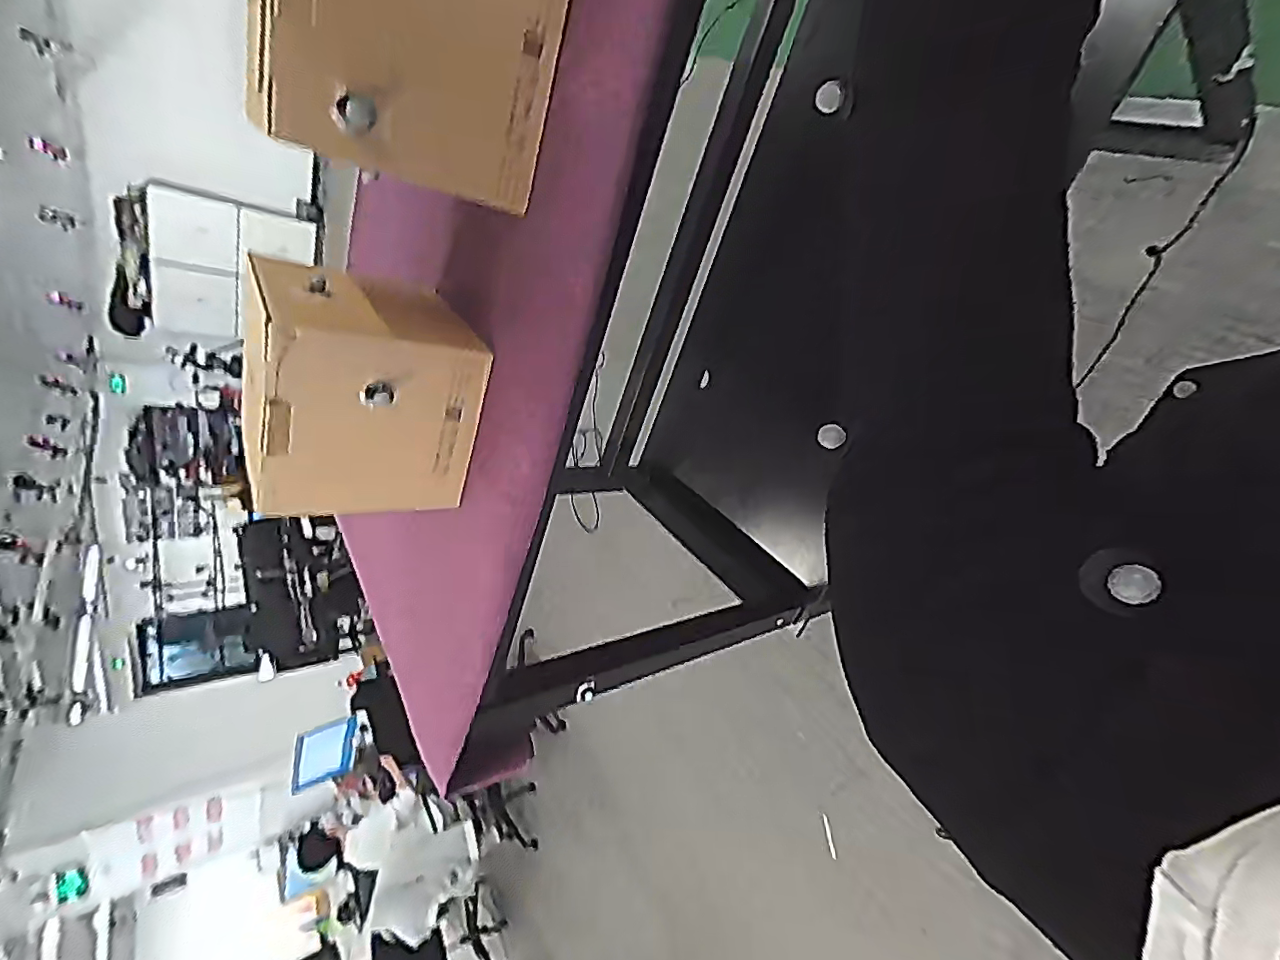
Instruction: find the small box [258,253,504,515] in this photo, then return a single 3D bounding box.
[{"bbox_3d":[-0.245,-0.088,0.504,0.179,0.176,0.168,45,123,40],"label":"small box"}]
